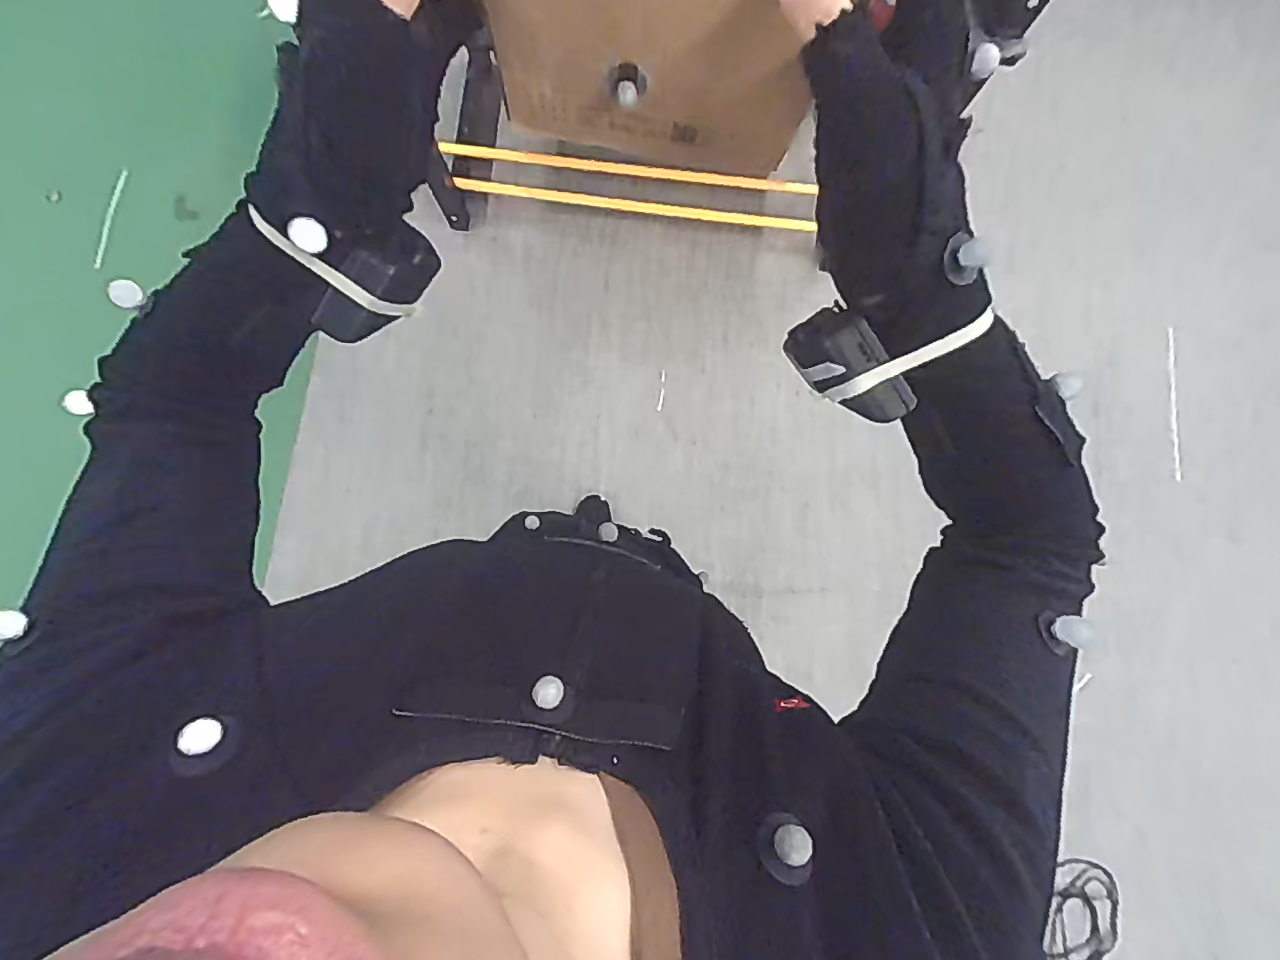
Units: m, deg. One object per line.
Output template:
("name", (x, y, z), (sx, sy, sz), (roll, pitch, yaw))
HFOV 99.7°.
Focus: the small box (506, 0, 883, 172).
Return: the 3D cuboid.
("small box", (0.026, -0.289, 0.254), (0.168, 0.176, 0.179), (7, 89, -6))
